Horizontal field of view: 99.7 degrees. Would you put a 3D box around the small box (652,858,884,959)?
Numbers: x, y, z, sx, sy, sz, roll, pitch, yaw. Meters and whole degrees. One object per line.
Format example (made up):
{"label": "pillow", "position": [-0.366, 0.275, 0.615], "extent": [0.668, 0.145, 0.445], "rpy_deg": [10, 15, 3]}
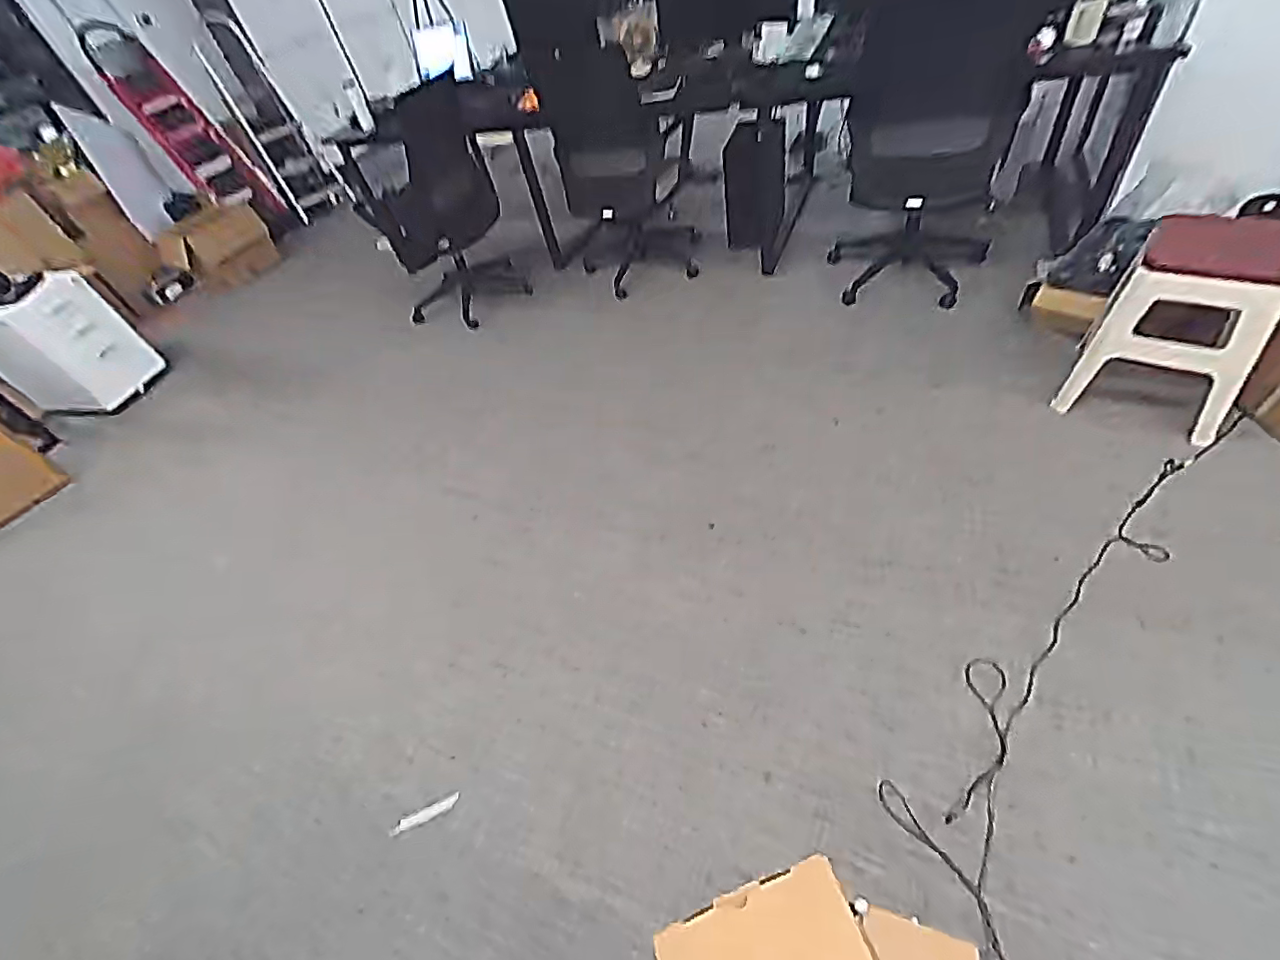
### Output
{"label": "small box", "position": [0.134, 0.450, 0.438], "extent": [0.168, 0.176, 0.179], "rpy_deg": [-27, 41, 1]}

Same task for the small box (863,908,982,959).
{"label": "small box", "position": [0.426, 0.817, 0.851], "extent": [0.168, 0.176, 0.179], "rpy_deg": [8, 51, 22]}
